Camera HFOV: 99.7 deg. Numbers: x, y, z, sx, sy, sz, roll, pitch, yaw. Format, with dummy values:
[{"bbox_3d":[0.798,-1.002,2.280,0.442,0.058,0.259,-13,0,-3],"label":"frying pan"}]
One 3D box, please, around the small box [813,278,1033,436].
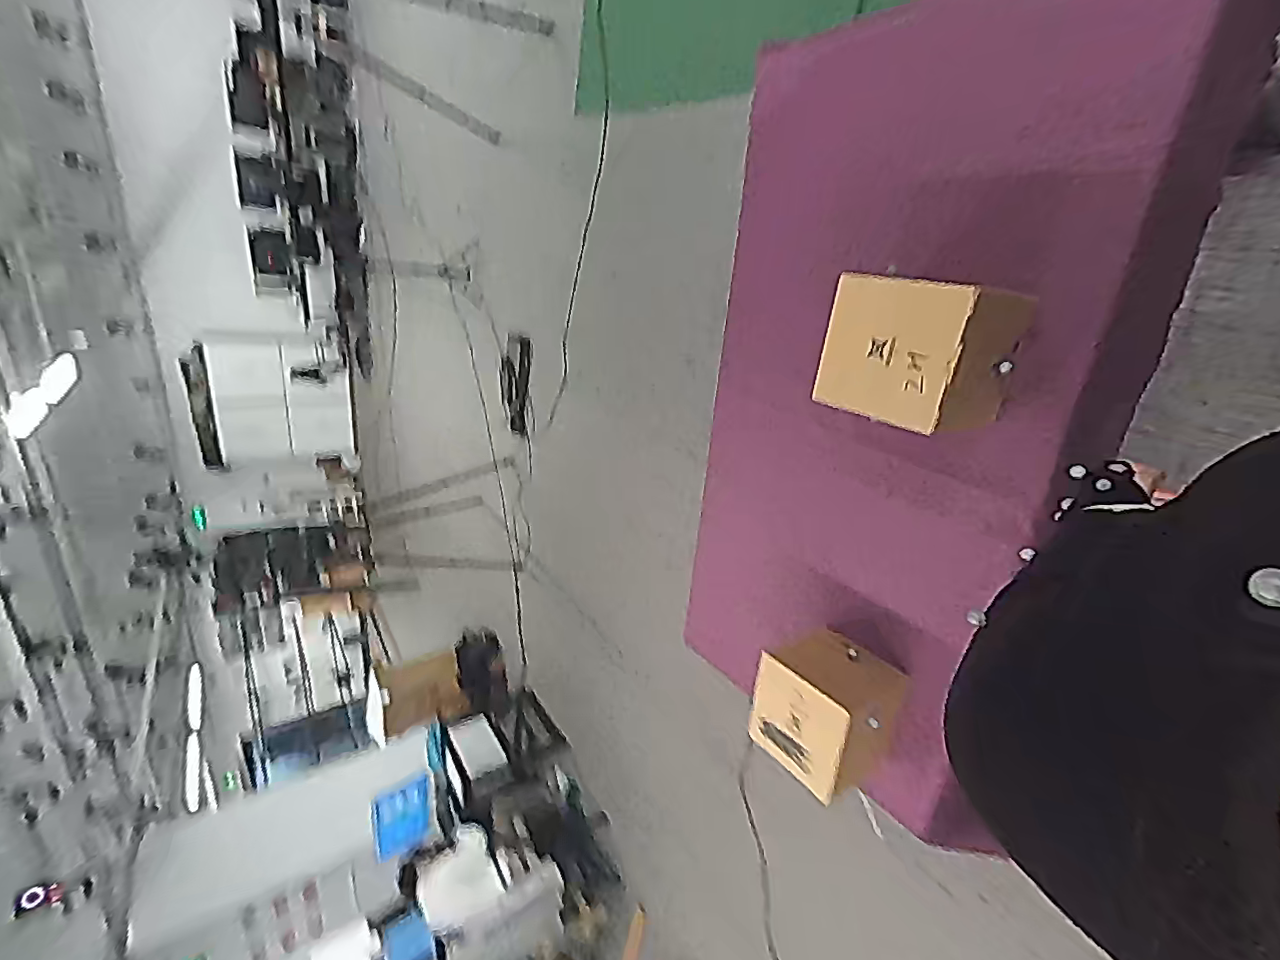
[{"bbox_3d":[0.367,-0.166,0.714,0.179,0.176,0.168,31,123,47],"label":"small box"}]
